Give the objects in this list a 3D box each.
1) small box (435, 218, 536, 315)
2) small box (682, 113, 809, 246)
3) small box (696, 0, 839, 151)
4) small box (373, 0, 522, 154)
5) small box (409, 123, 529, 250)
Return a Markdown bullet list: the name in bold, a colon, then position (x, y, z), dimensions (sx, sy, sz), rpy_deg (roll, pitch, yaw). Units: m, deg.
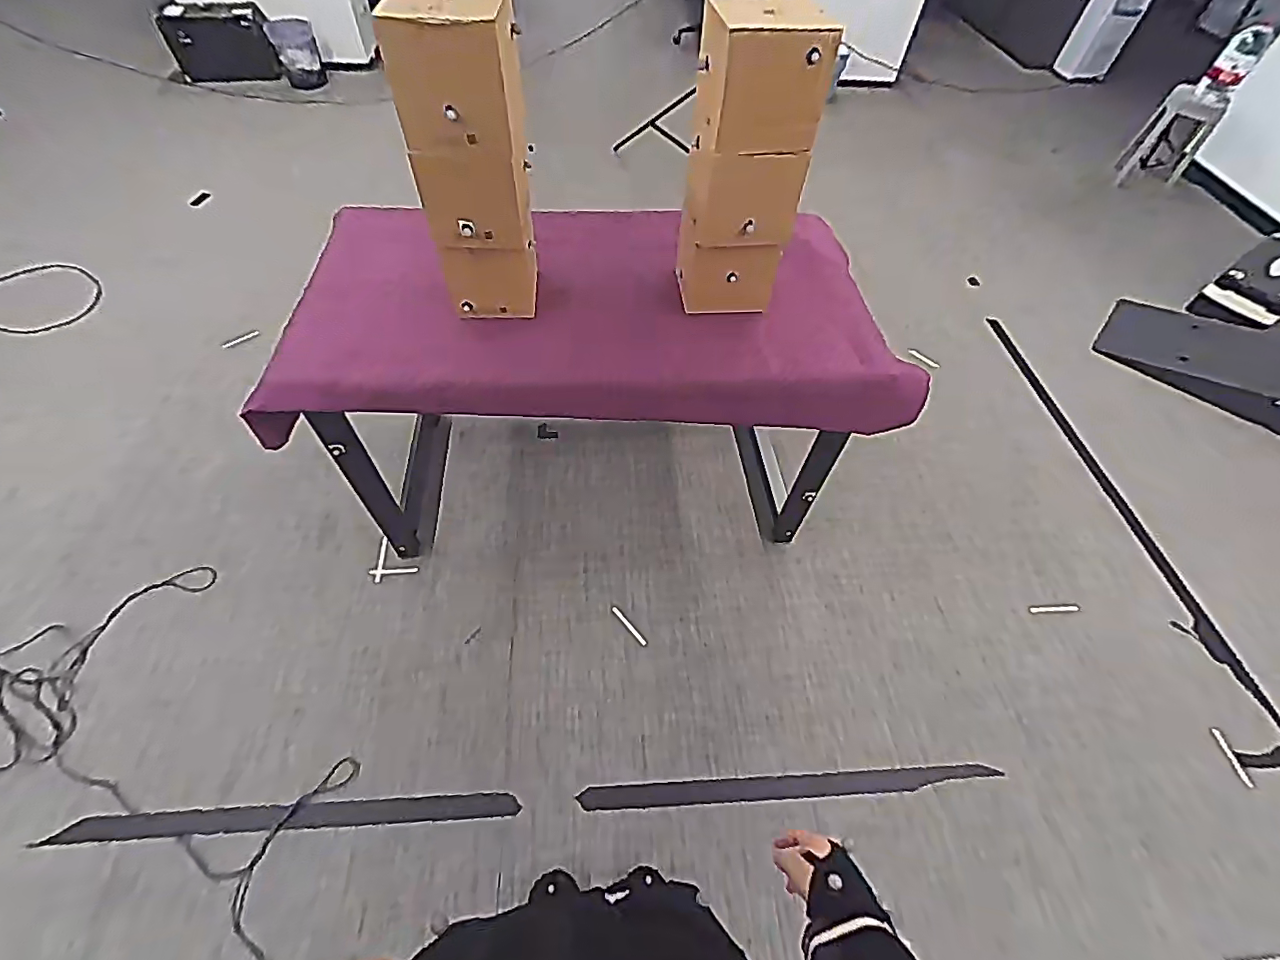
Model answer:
- **small box**: position (-0.306, -0.455, 1.110), dimensions (0.168, 0.176, 0.179), rpy_deg (-2, 54, -5)
- **small box**: position (0.187, -0.562, 1.016), dimensions (0.179, 0.176, 0.168), rpy_deg (-6, 55, -8)
- **small box**: position (0.194, -0.663, 0.888), dimensions (0.179, 0.176, 0.168), rpy_deg (-6, 55, -7)
- **small box**: position (-0.281, -0.635, 0.837), dimensions (0.168, 0.176, 0.179), rpy_deg (0, 55, -3)
- **small box**: position (-0.293, -0.539, 0.970), dimensions (0.168, 0.176, 0.179), rpy_deg (-2, 56, -4)
